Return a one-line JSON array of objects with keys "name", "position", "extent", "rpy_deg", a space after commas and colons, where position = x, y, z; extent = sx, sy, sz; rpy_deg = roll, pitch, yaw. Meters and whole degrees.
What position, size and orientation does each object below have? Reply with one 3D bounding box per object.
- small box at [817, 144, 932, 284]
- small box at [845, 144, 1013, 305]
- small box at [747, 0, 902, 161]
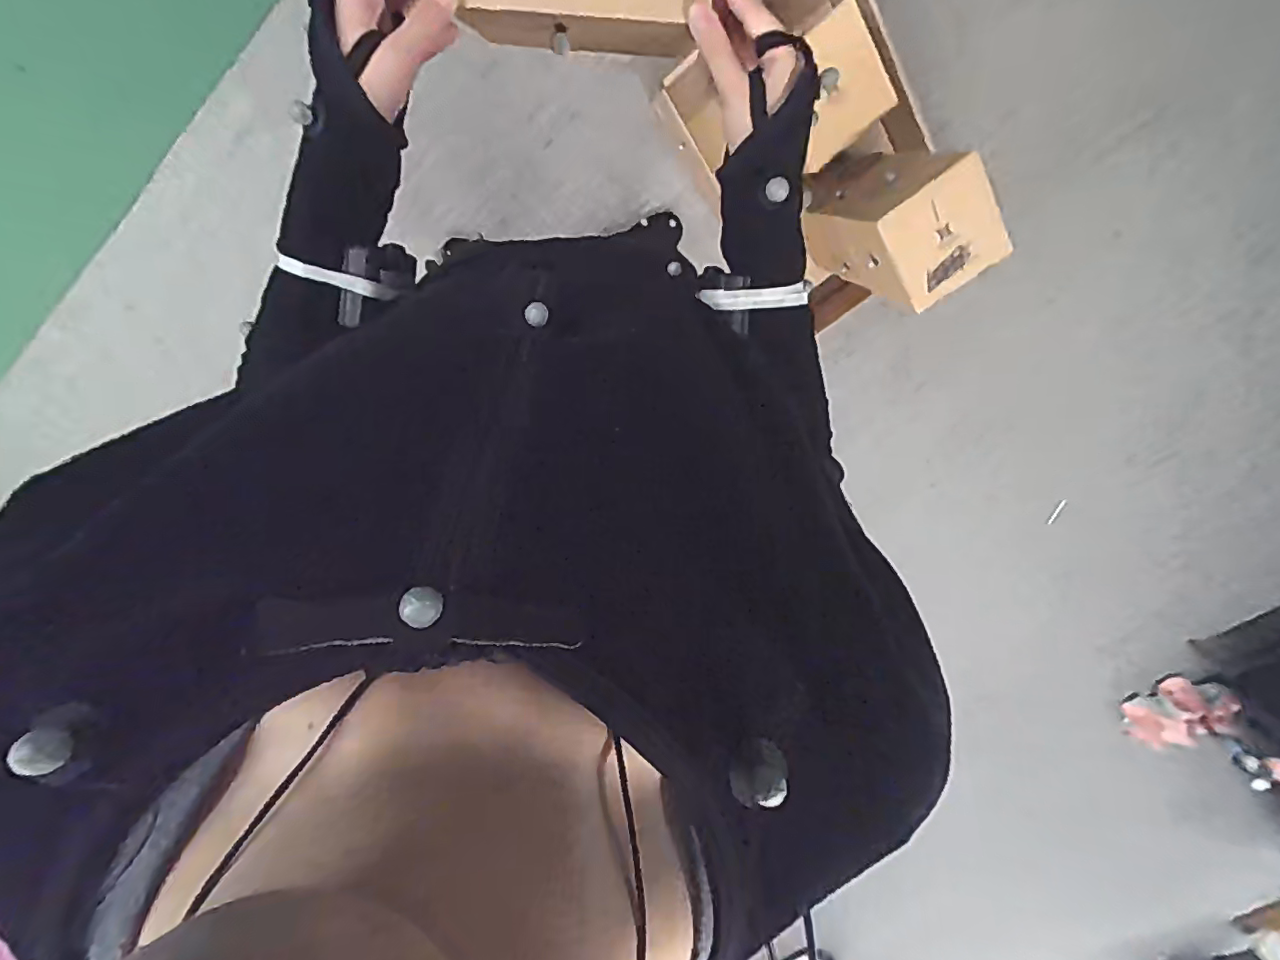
[{"name": "small box", "position": [0.464, -0.511, 1.044], "extent": [0.179, 0.176, 0.168], "rpy_deg": [-33, 116, 14]}, {"name": "small box", "position": [0.474, -0.425, 0.907], "extent": [0.168, 0.176, 0.179], "rpy_deg": [-31, 113, 14]}, {"name": "small box", "position": [0.310, -0.684, 0.939], "extent": [0.168, 0.176, 0.179], "rpy_deg": [-36, 117, 16]}]
